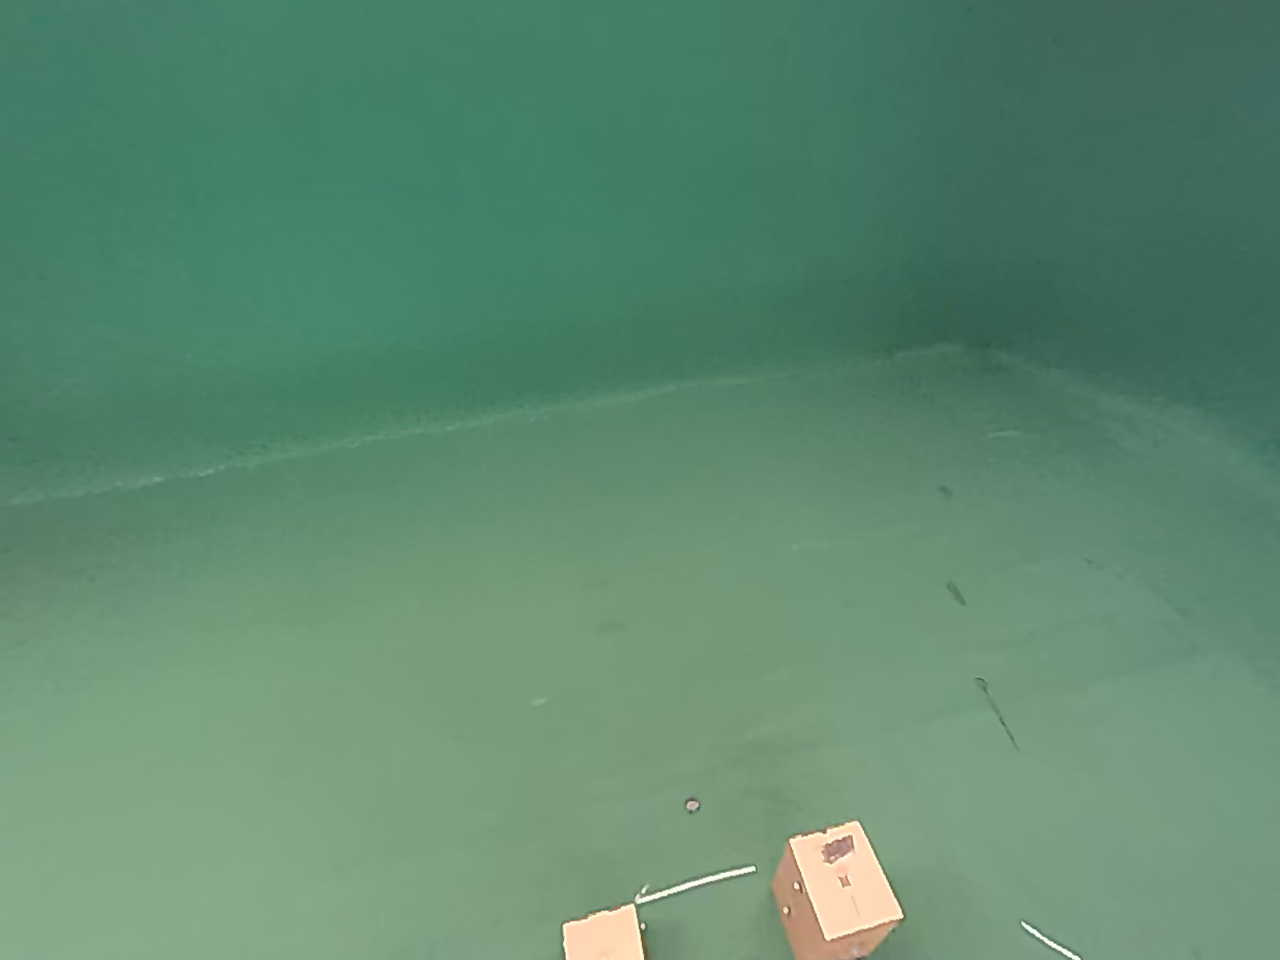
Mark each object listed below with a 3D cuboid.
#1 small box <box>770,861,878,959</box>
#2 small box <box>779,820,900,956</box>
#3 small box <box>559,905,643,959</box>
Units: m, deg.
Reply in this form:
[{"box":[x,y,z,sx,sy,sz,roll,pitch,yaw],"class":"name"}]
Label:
[{"box":[0.415,0.995,1.254,0.168,0.176,0.179,-9,40,-8],"class":"small box"},{"box":[0.411,0.867,1.151,0.168,0.176,0.179,-10,40,-8],"class":"small box"},{"box":[-0.076,1.079,1.185,0.168,0.176,0.179,-10,39,-9],"class":"small box"}]
